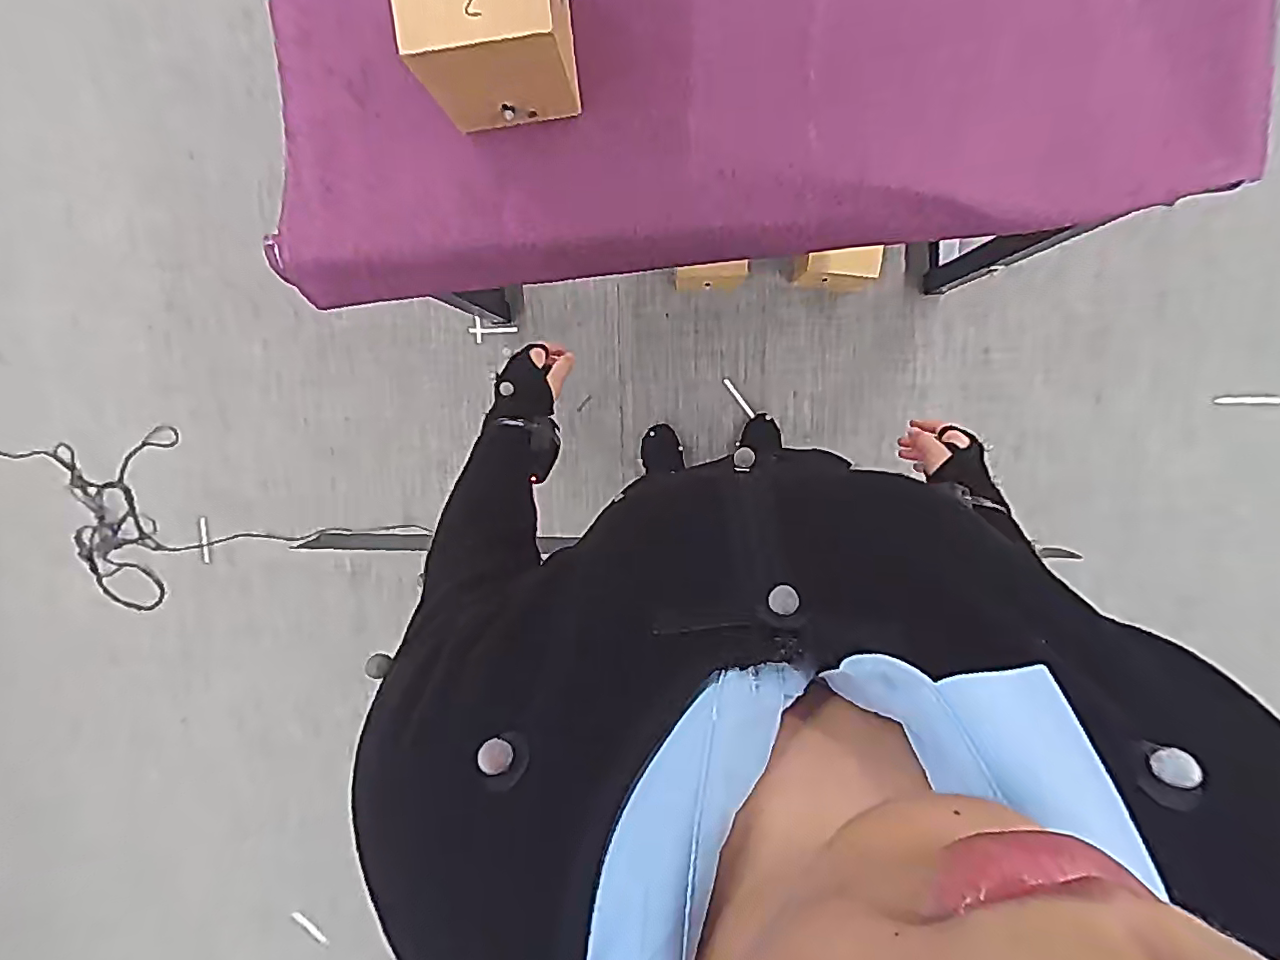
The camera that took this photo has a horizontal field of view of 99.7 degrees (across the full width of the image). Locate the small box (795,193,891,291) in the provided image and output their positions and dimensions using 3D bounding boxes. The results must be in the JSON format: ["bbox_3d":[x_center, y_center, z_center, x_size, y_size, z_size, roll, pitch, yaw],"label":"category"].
[{"bbox_3d":[0.483,-0.569,1.315,0.168,0.176,0.179,7,98,3],"label":"small box"}]

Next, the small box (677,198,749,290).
[{"bbox_3d":[0.175,-0.573,1.334,0.168,0.176,0.179,0,97,3],"label":"small box"}]
